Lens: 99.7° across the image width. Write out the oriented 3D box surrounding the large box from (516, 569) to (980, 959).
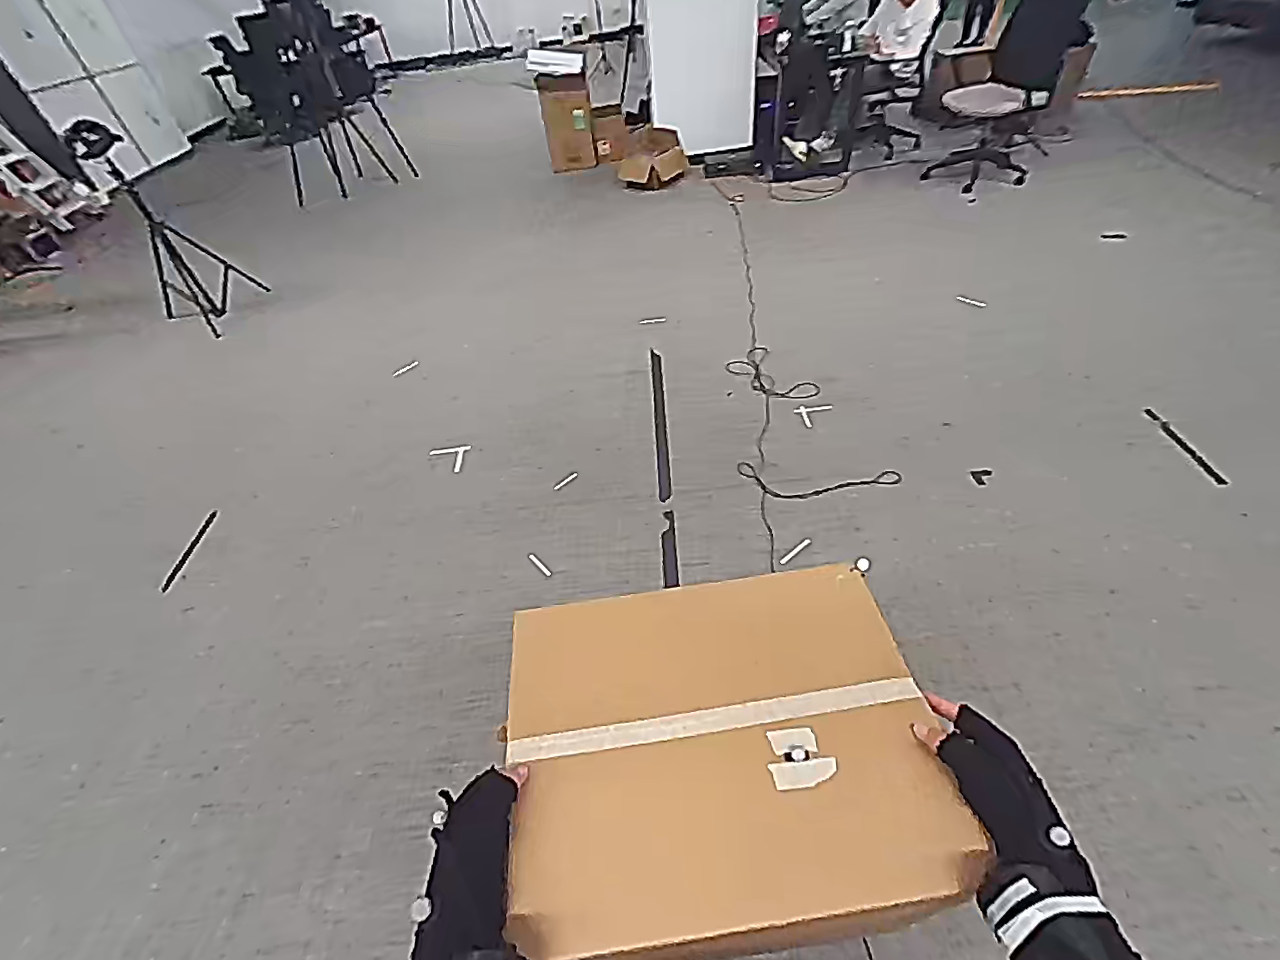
[{"bbox_3d":[0.082,0.349,0.653,0.408,0.320,0.320,-8,46,-3],"label":"large box"}]
